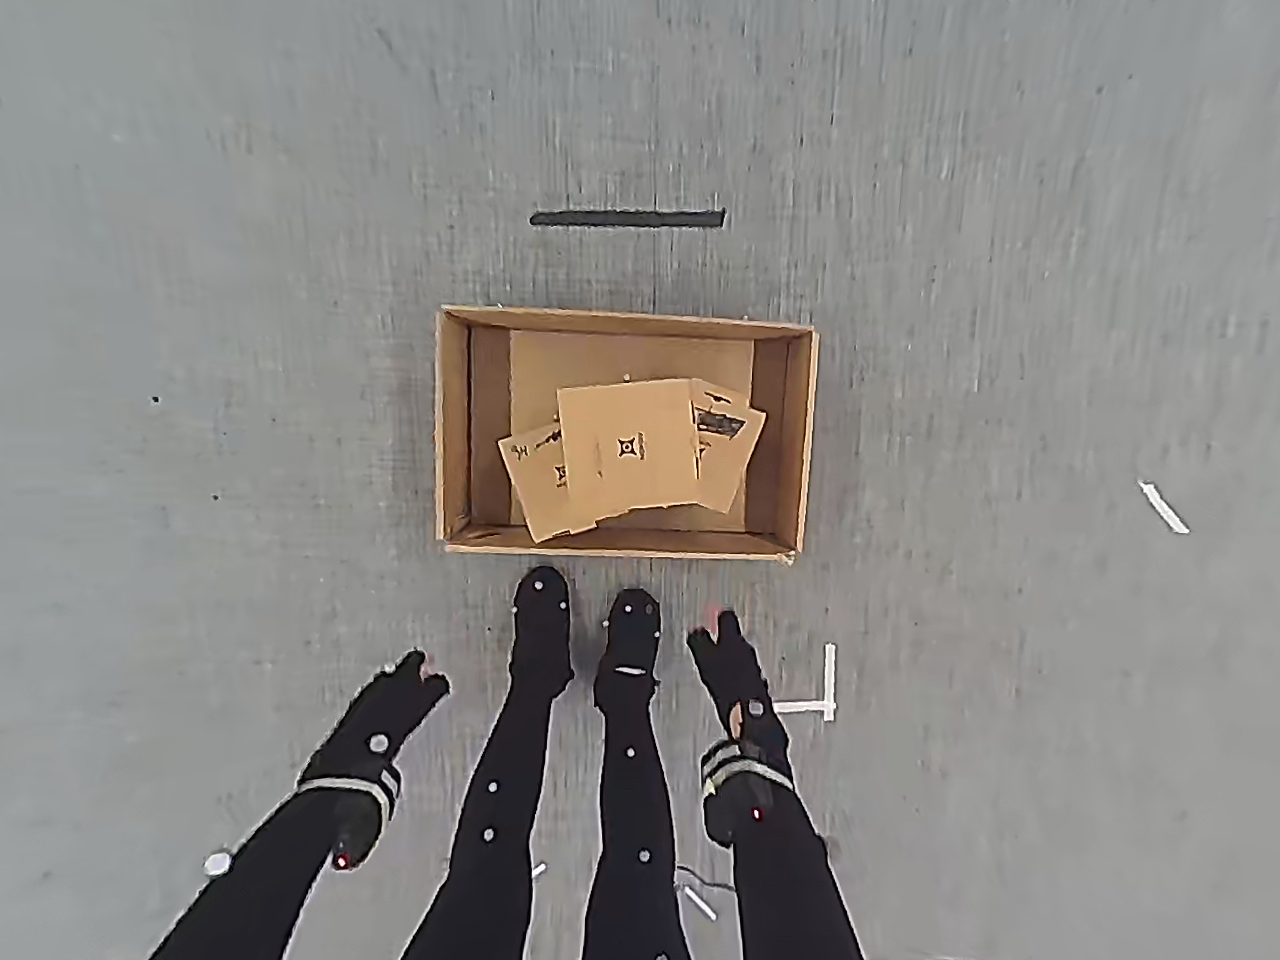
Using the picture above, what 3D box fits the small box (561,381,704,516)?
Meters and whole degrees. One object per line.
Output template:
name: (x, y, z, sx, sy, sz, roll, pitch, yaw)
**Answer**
small box: (-0.012, -0.049, 0.780, 0.179, 0.176, 0.168, -6, 96, -1)
